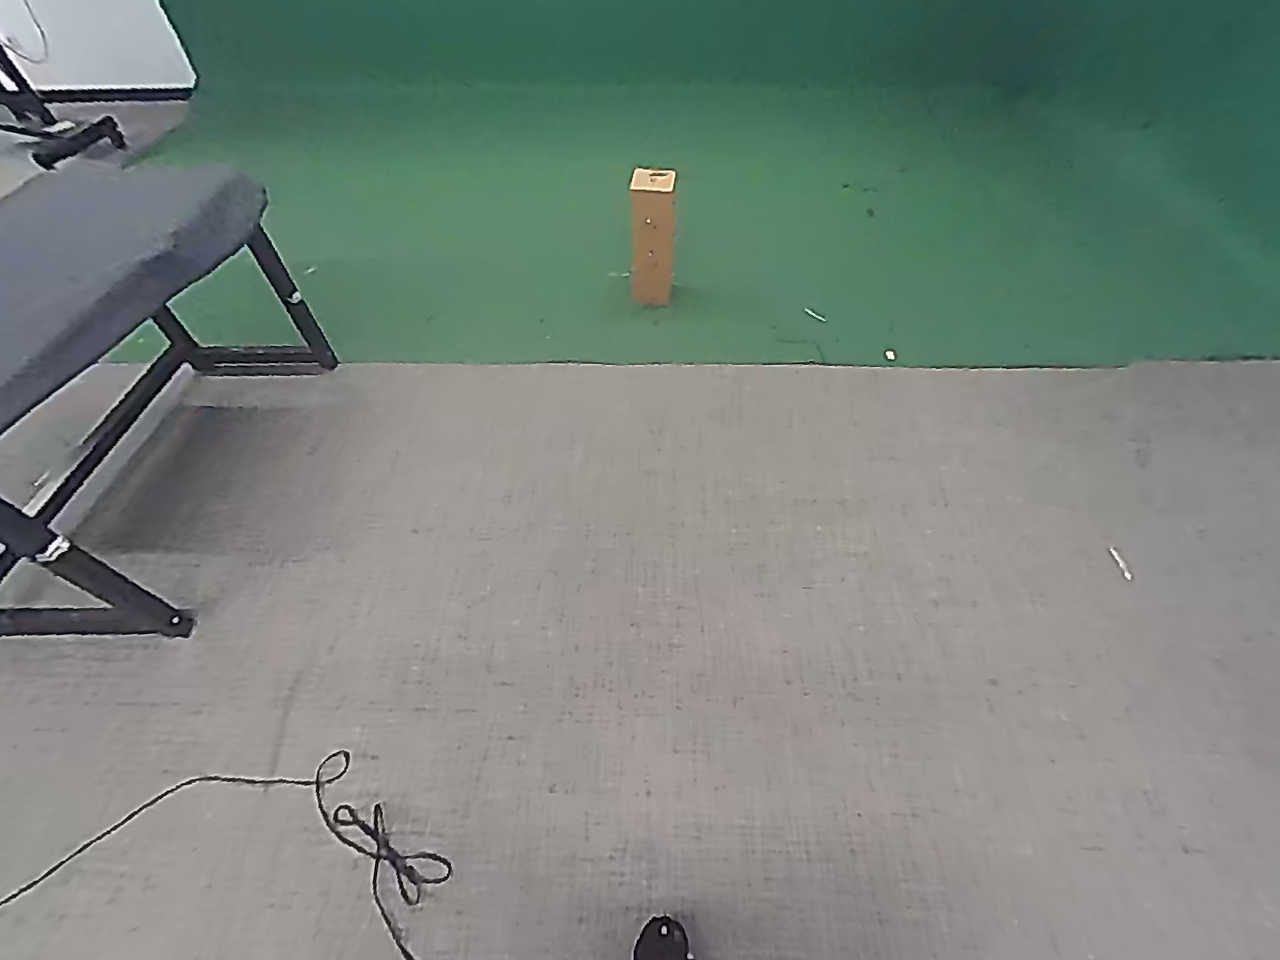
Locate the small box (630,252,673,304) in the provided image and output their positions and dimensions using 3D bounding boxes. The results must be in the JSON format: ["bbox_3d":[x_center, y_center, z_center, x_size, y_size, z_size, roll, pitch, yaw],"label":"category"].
[{"bbox_3d":[0.051,-0.904,2.402,0.168,0.176,0.179,7,51,3],"label":"small box"}]

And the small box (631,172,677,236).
[{"bbox_3d":[0.054,-1.105,2.165,0.168,0.176,0.179,6,53,4],"label":"small box"}]

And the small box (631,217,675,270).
[{"bbox_3d":[0.055,-1.002,2.295,0.168,0.176,0.179,6,53,4],"label":"small box"}]
